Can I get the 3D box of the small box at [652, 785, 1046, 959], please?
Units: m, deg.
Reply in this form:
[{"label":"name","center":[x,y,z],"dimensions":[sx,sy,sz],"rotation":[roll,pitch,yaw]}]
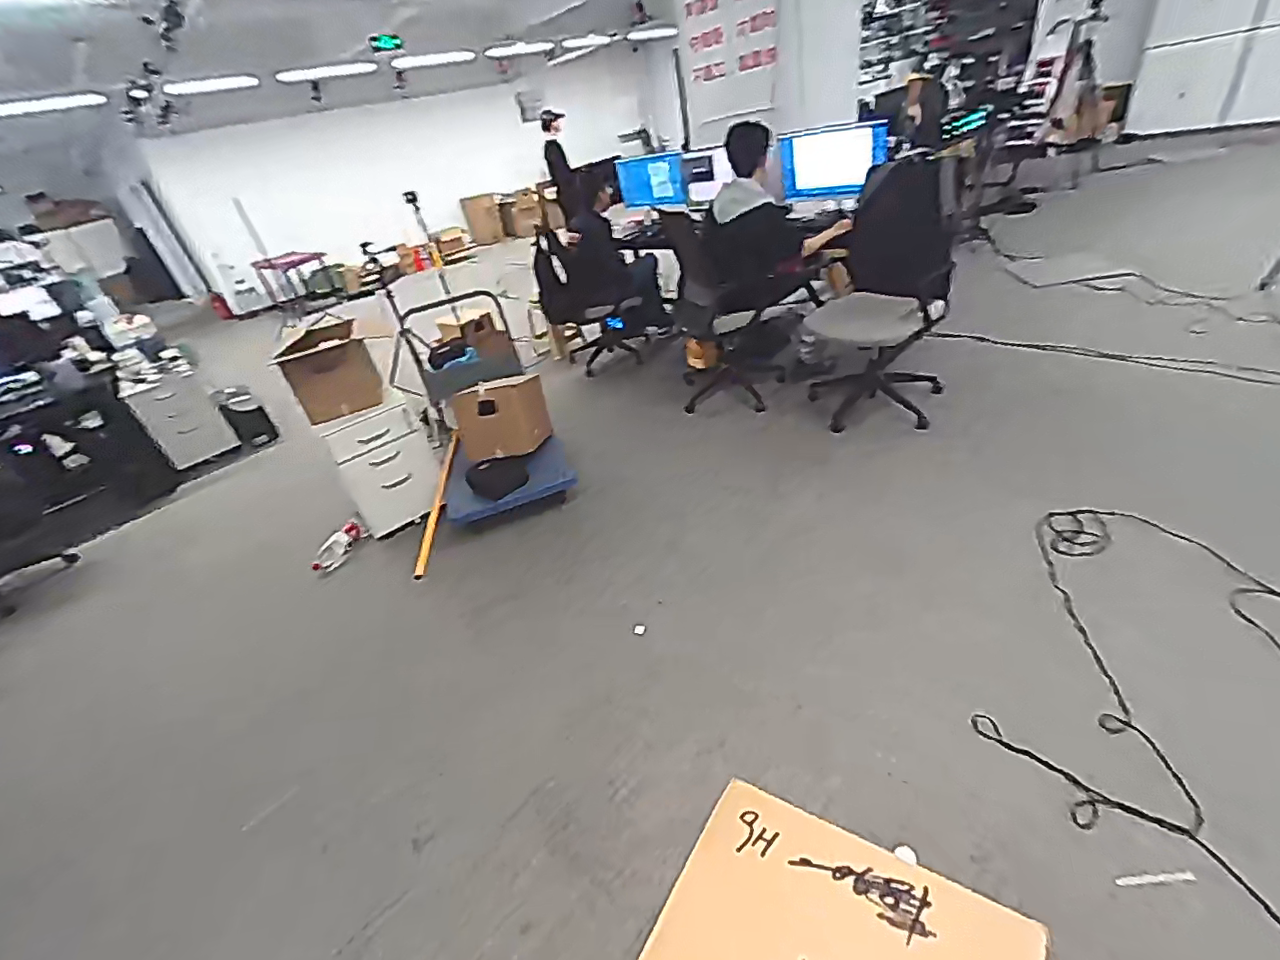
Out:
[{"label":"small box","center":[0.104,0.320,0.289],"dimensions":[0.168,0.176,0.179],"rotation":[7,38,38]}]
